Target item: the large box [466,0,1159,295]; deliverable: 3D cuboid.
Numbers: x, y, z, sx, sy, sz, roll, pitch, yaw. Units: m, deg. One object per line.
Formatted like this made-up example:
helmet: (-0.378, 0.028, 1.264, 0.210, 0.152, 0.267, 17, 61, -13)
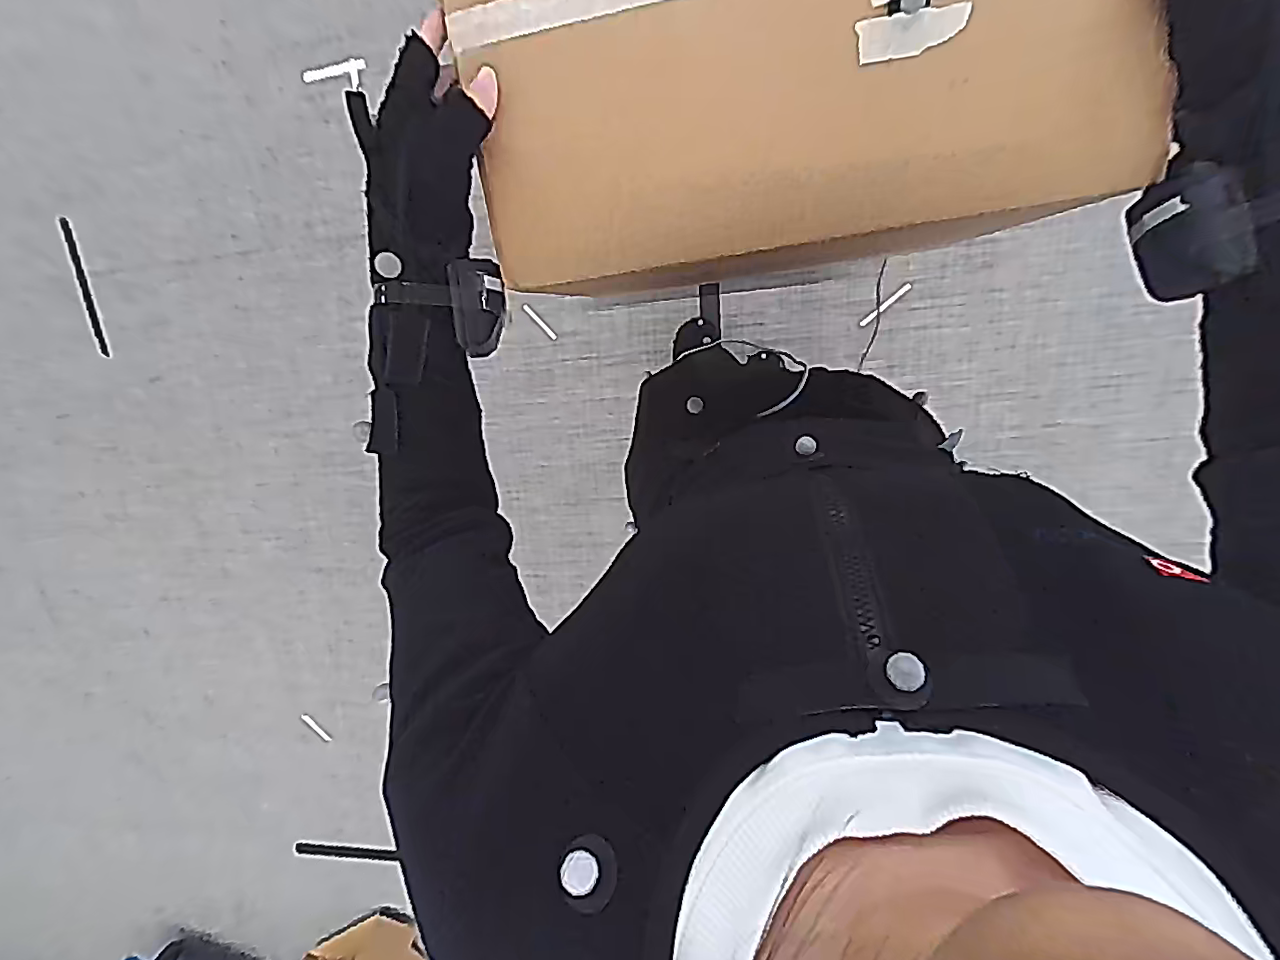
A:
large box: (0.103, -0.353, 0.458, 0.408, 0.320, 0.320, -6, 107, 10)
